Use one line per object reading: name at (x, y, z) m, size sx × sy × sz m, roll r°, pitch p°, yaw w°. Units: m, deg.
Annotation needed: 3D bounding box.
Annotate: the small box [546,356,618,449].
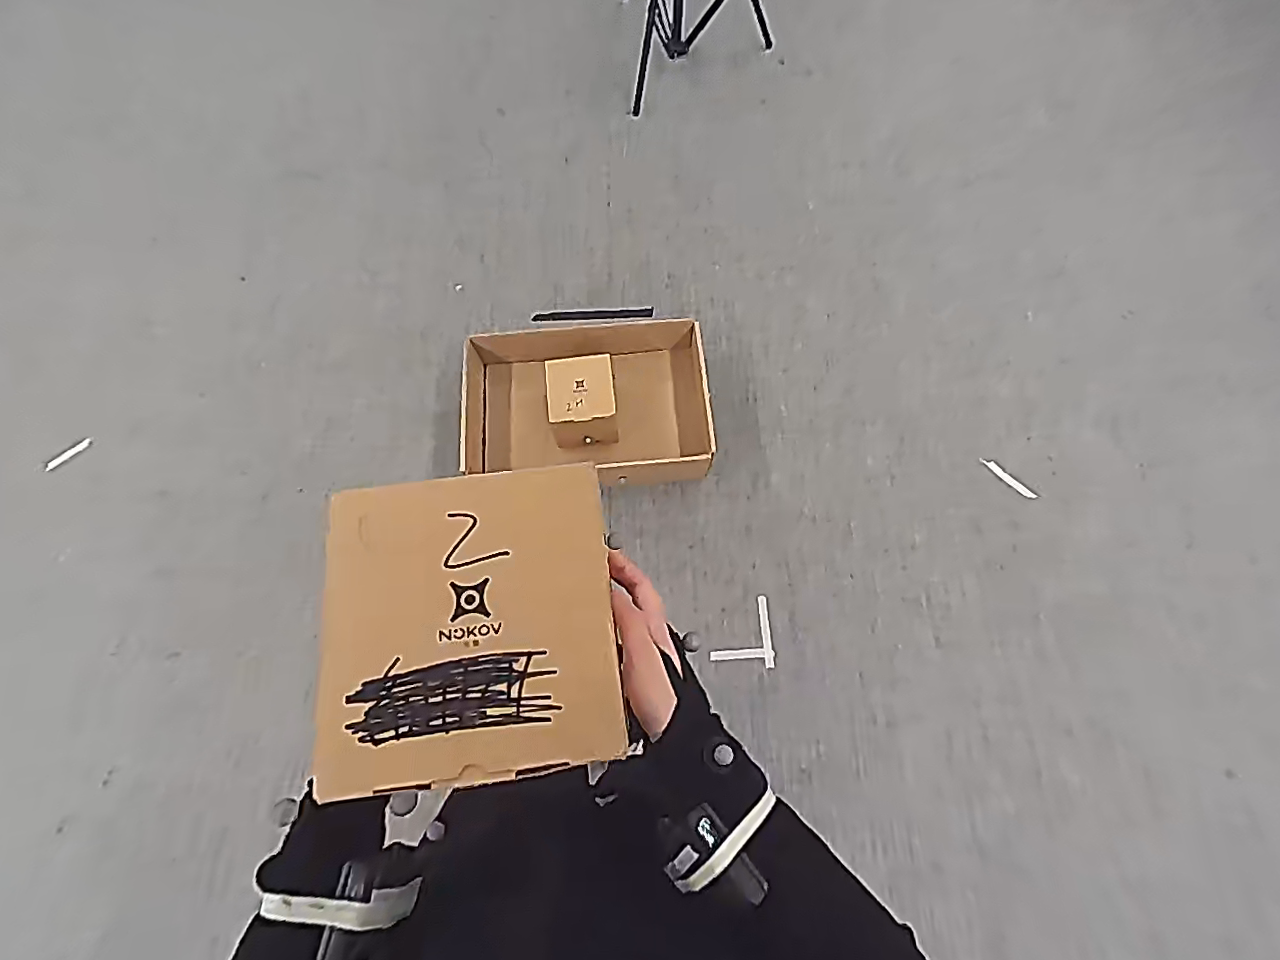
small box at (-0.149, -0.199, 1.410) m, size 0.168 × 0.176 × 0.179 m, roll -7°, pitch 72°, yaw -1°
